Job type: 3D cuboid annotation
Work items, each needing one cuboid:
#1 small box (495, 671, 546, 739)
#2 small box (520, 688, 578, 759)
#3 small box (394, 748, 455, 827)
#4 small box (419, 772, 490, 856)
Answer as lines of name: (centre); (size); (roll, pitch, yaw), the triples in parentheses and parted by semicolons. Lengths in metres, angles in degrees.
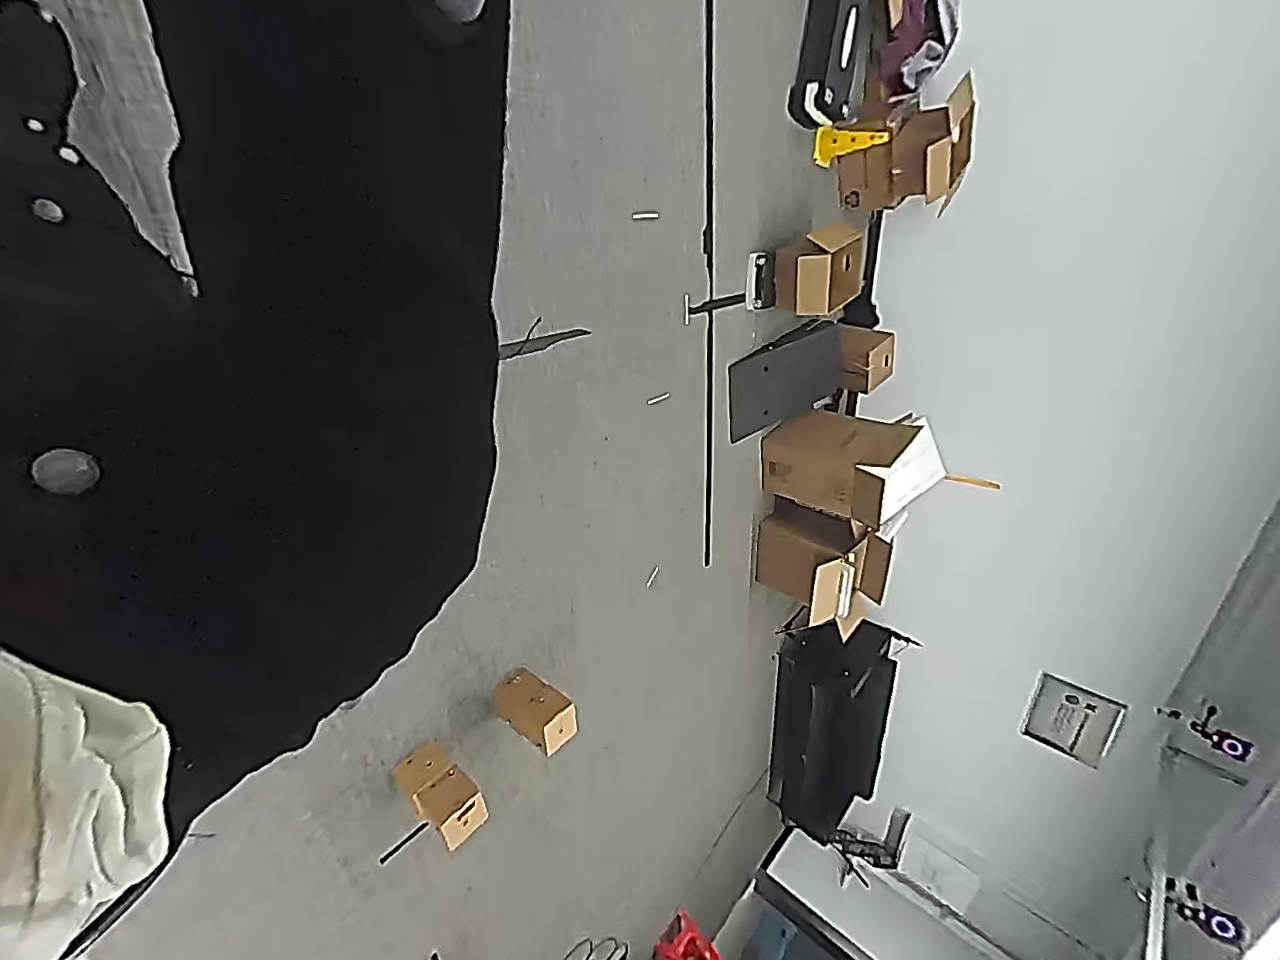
small box: (-0.508, 0.972, 2.349); (0.168, 0.176, 0.179); (-27, 125, -43)
small box: (-0.380, 1.007, 2.252); (0.168, 0.176, 0.179); (-28, 125, -43)
small box: (-0.809, 1.163, 2.063); (0.168, 0.176, 0.179); (-32, 129, -39)
small box: (-0.678, 1.207, 1.973); (0.168, 0.176, 0.179); (-32, 129, -39)
